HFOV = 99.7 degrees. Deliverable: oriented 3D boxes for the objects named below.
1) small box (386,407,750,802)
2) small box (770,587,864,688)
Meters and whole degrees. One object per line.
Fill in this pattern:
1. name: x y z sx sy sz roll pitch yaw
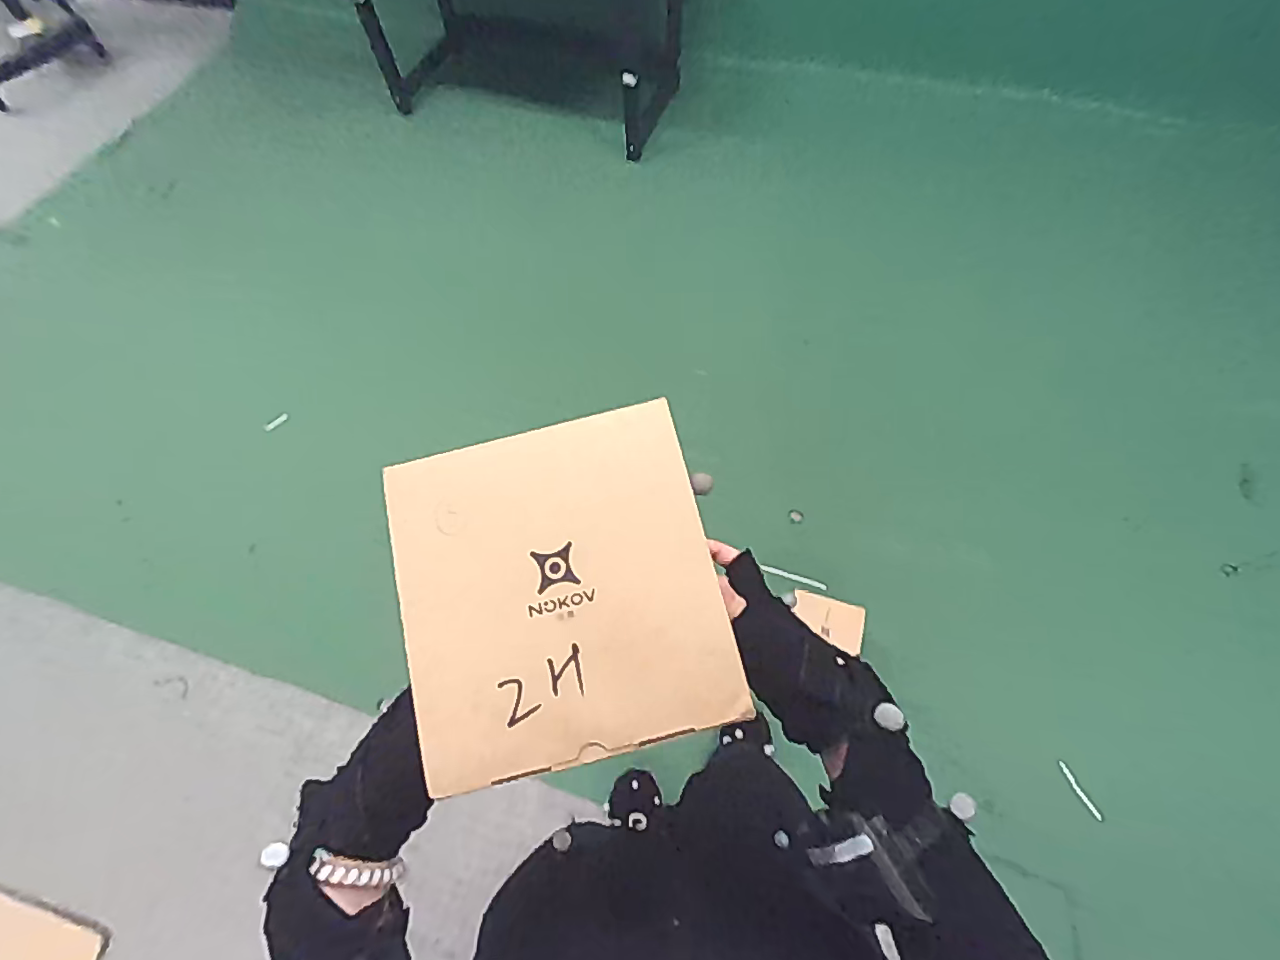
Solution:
1. small box: -0.041 0.077 0.363 0.168 0.176 0.179 -15 76 -1
2. small box: 0.417 0.382 1.293 0.168 0.176 0.179 15 64 10
